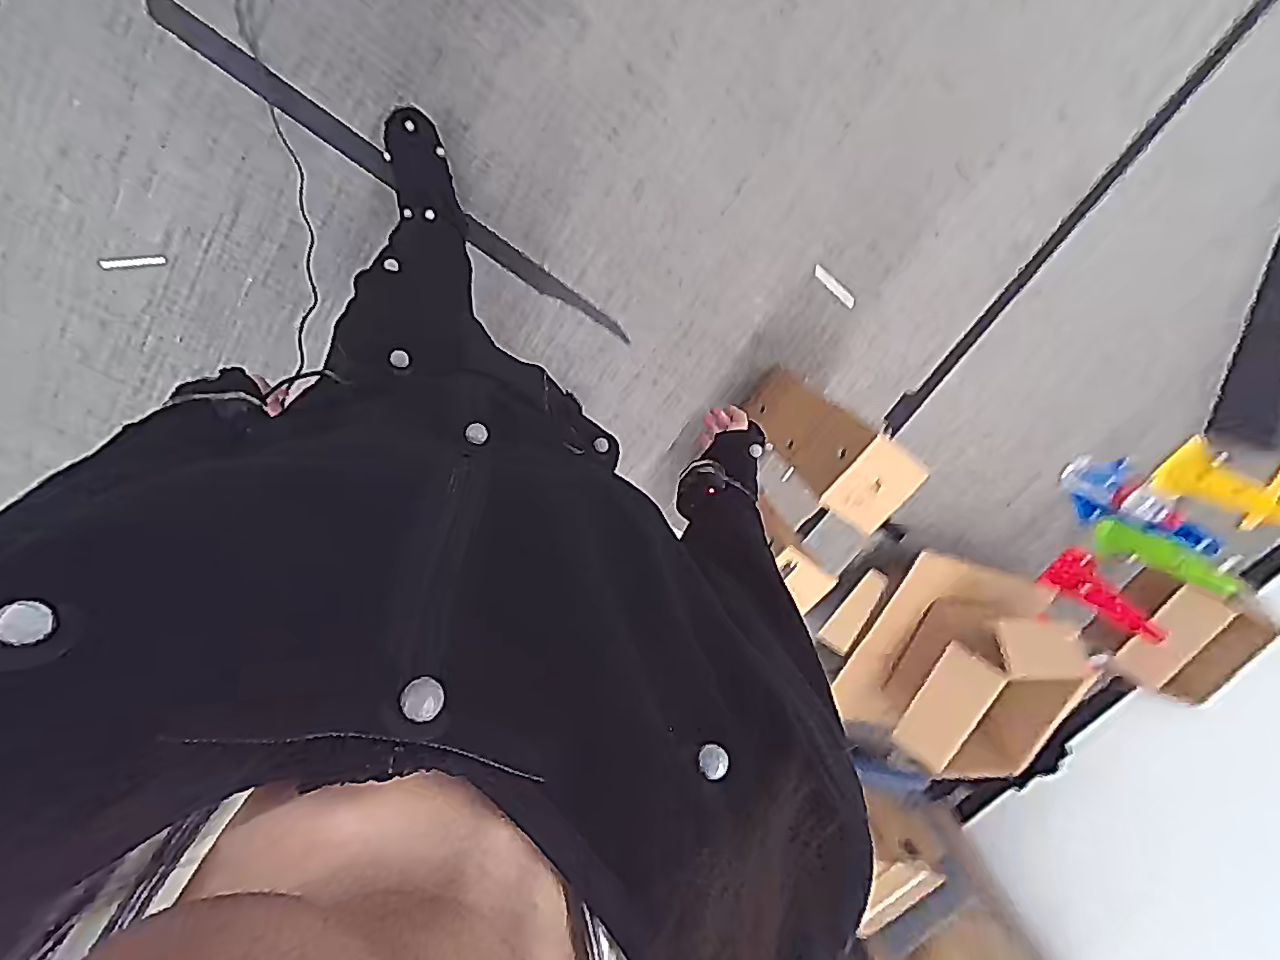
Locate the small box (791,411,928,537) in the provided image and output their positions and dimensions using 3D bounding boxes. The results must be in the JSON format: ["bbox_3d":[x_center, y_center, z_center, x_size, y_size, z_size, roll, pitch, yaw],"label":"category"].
[{"bbox_3d":[0.456,-0.018,1.153,0.168,0.176,0.179,31,109,-24],"label":"small box"}]

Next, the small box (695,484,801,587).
[{"bbox_3d":[0.267,0.134,1.380,0.179,0.176,0.168,34,107,-26],"label":"small box"}]

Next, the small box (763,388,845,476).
[{"bbox_3d":[0.426,-0.094,1.296,0.168,0.176,0.179,30,109,-24],"label":"small box"}]

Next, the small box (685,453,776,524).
[{"bbox_3d":[0.244,0.059,1.525,0.168,0.176,0.179,35,106,-25],"label":"small box"}]

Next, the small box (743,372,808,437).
[{"bbox_3d":[0.406,-0.168,1.440,0.179,0.176,0.168,29,110,-25],"label":"small box"}]
